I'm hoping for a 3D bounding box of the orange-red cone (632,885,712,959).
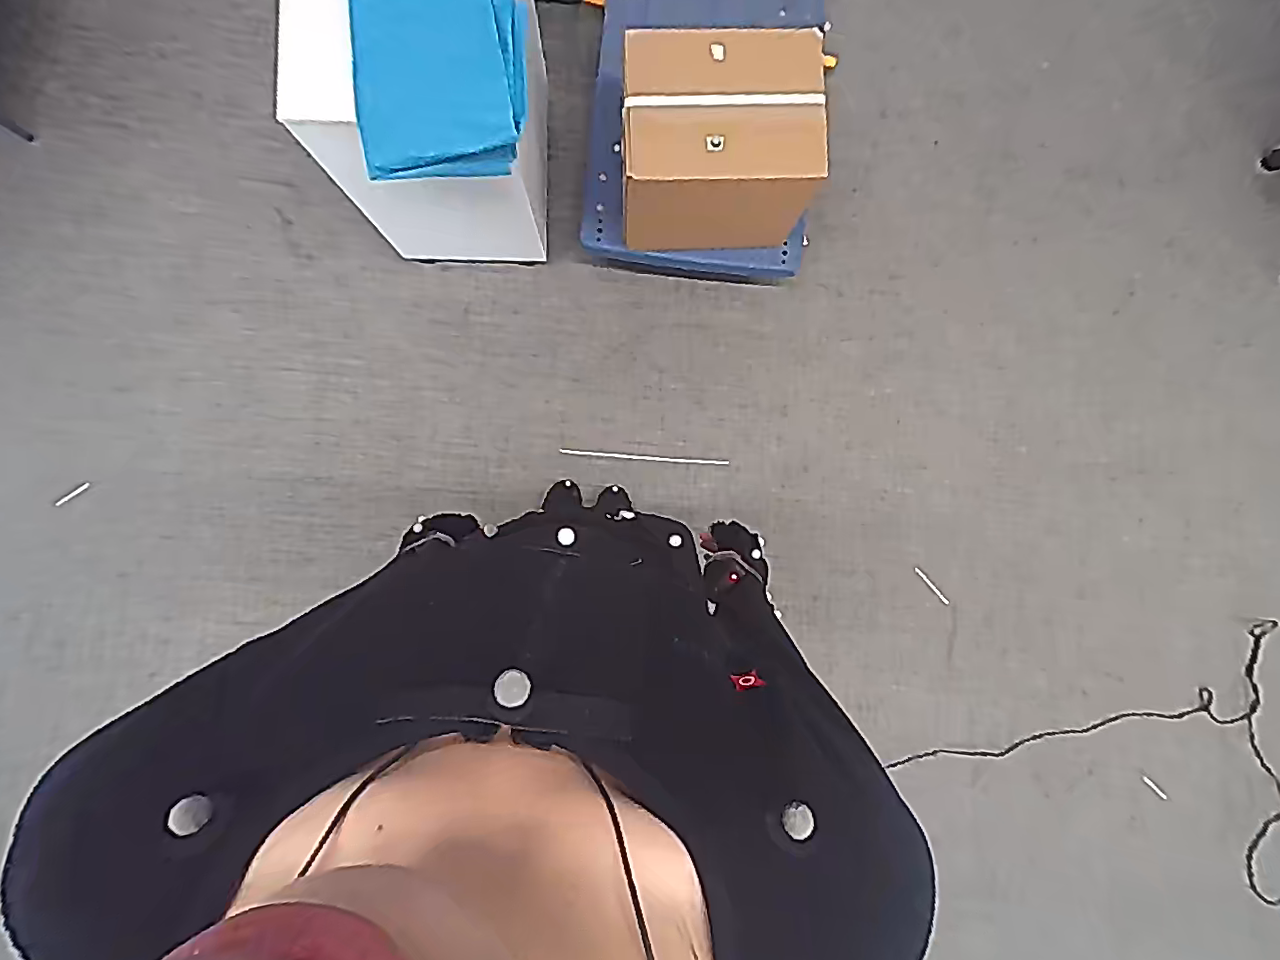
[{"bbox_3d":[0.094,1.228,1.318,0.198,0.360,0.199,-14,90,-2],"label":"orange-red cone"}]
